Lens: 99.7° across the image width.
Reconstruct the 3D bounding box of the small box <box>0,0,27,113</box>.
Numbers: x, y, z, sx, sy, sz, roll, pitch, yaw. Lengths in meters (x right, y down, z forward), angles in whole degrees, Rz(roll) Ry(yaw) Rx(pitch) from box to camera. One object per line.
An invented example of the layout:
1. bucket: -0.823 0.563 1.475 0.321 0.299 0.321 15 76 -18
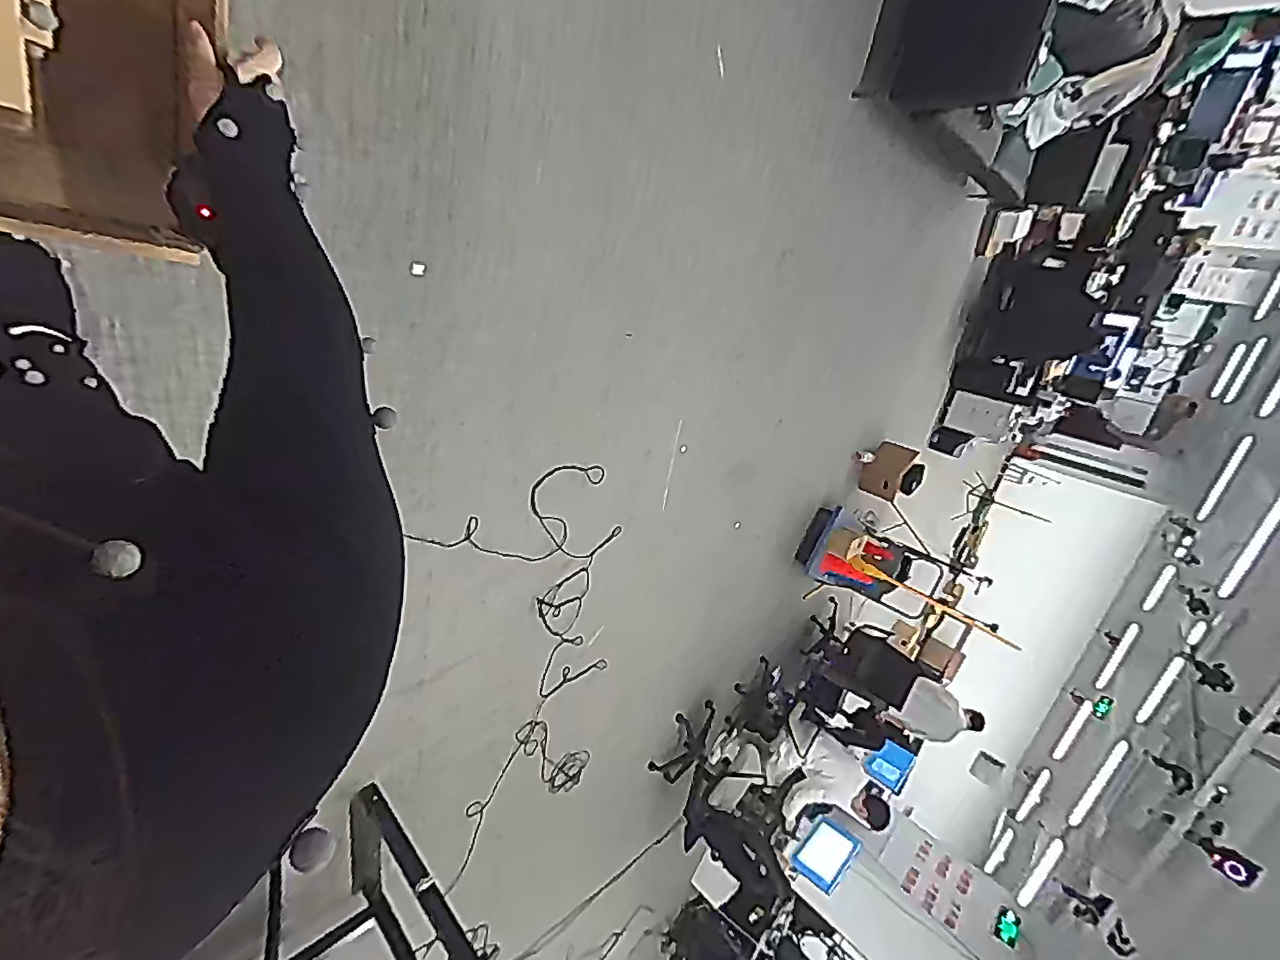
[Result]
1. small box: -0.444 -0.304 0.268 0.179 0.176 0.168 -7 117 -49
